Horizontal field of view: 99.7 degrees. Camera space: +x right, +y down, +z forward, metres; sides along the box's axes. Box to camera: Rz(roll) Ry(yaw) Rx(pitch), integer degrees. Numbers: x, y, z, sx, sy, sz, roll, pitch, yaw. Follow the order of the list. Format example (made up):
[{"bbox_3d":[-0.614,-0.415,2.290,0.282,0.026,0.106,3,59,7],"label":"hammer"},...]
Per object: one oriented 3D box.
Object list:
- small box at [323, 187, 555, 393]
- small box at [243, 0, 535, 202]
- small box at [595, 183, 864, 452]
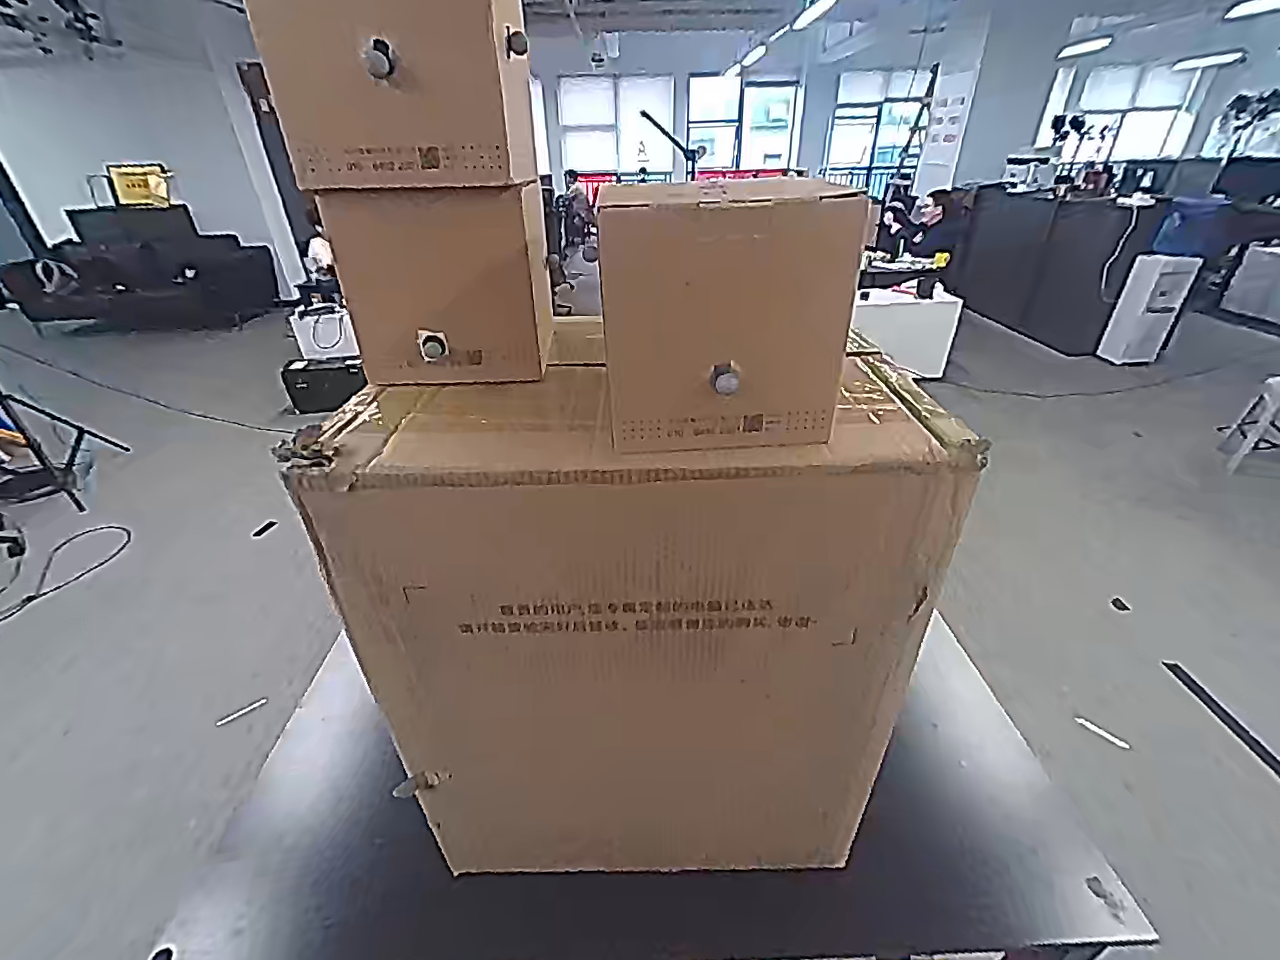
[{"bbox_3d":[-0.180,-0.198,0.549,0.168,0.176,0.179,-4,32,-3],"label":"small box"},{"bbox_3d":[-0.186,-0.330,0.452,0.168,0.176,0.179,-3,31,-2],"label":"small box"},{"bbox_3d":[0.054,-0.137,0.436,0.168,0.176,0.179,-4,32,0],"label":"small box"}]
